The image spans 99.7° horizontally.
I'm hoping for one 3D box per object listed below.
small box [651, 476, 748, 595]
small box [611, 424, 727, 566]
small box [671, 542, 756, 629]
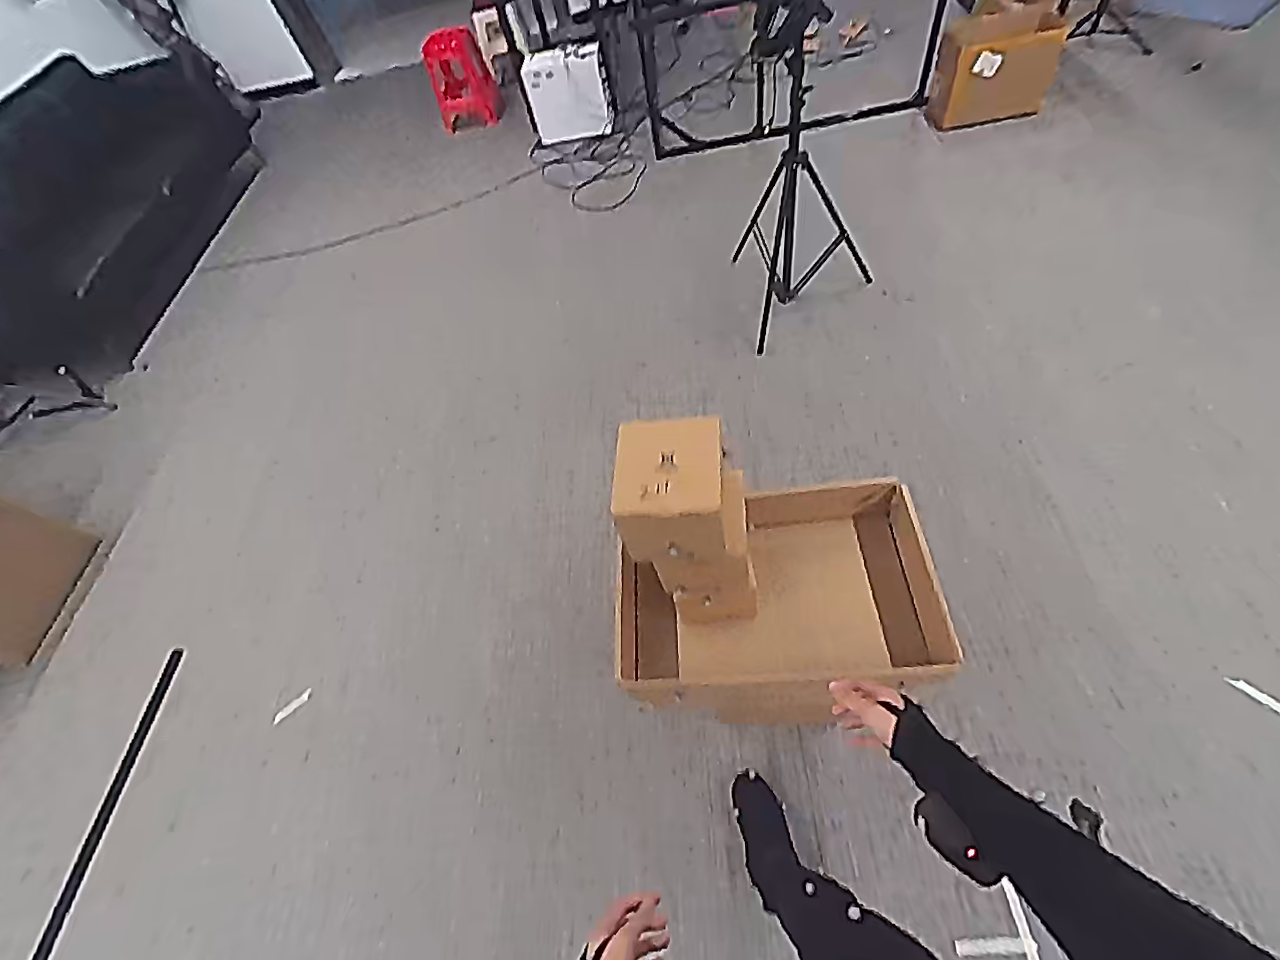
[{"bbox_3d":[0.117,0.112,1.028,0.168,0.176,0.179,-3,56,10],"label":"small box"},{"bbox_3d":[0.056,0.028,0.898,0.168,0.176,0.179,-3,57,11],"label":"small box"},{"bbox_3d":[0.152,0.202,1.162,0.168,0.176,0.179,-9,55,7],"label":"small box"}]
